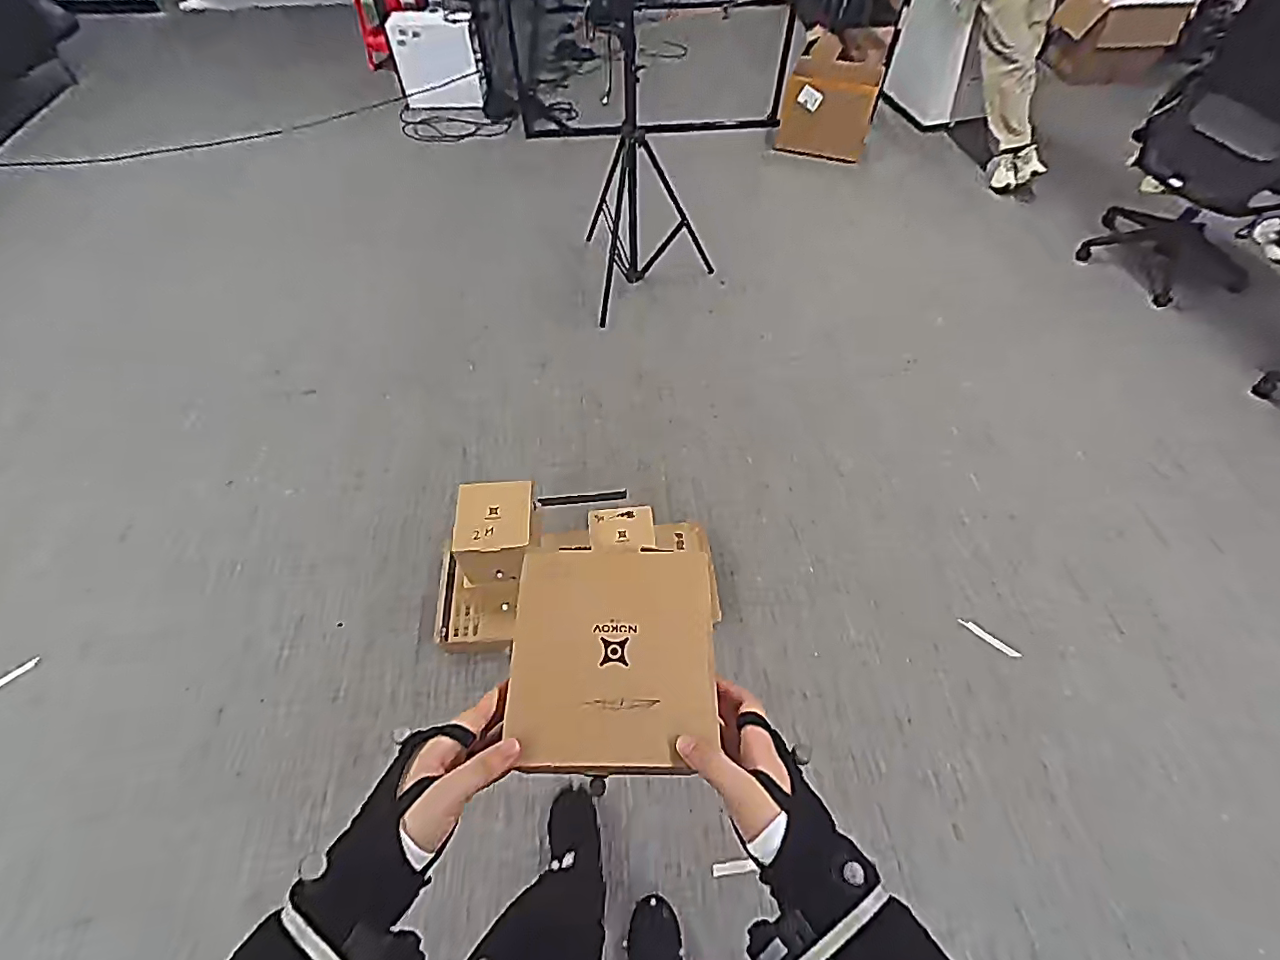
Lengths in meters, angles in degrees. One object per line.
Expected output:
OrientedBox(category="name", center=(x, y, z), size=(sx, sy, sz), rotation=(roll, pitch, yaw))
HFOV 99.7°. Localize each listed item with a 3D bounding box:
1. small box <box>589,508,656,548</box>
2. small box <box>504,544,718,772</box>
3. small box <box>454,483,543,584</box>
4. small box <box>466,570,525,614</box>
OrientedBox(category="small box", center=(-0.041, 0.194, 1.417), size=(0.168, 0.176, 0.179), rotation=(-5, 56, -1))
OrientedBox(category="small box", center=(-0.025, 0.176, 0.519), size=(0.168, 0.176, 0.179), rotation=(1, 60, -2))
OrientedBox(category="small box", center=(-0.321, 0.126, 1.263), size=(0.168, 0.176, 0.179), rotation=(-4, 56, -2))
OrientedBox(category="small box", center=(-0.340, 0.227, 1.394), size=(0.168, 0.176, 0.179), rotation=(-5, 57, -4))
